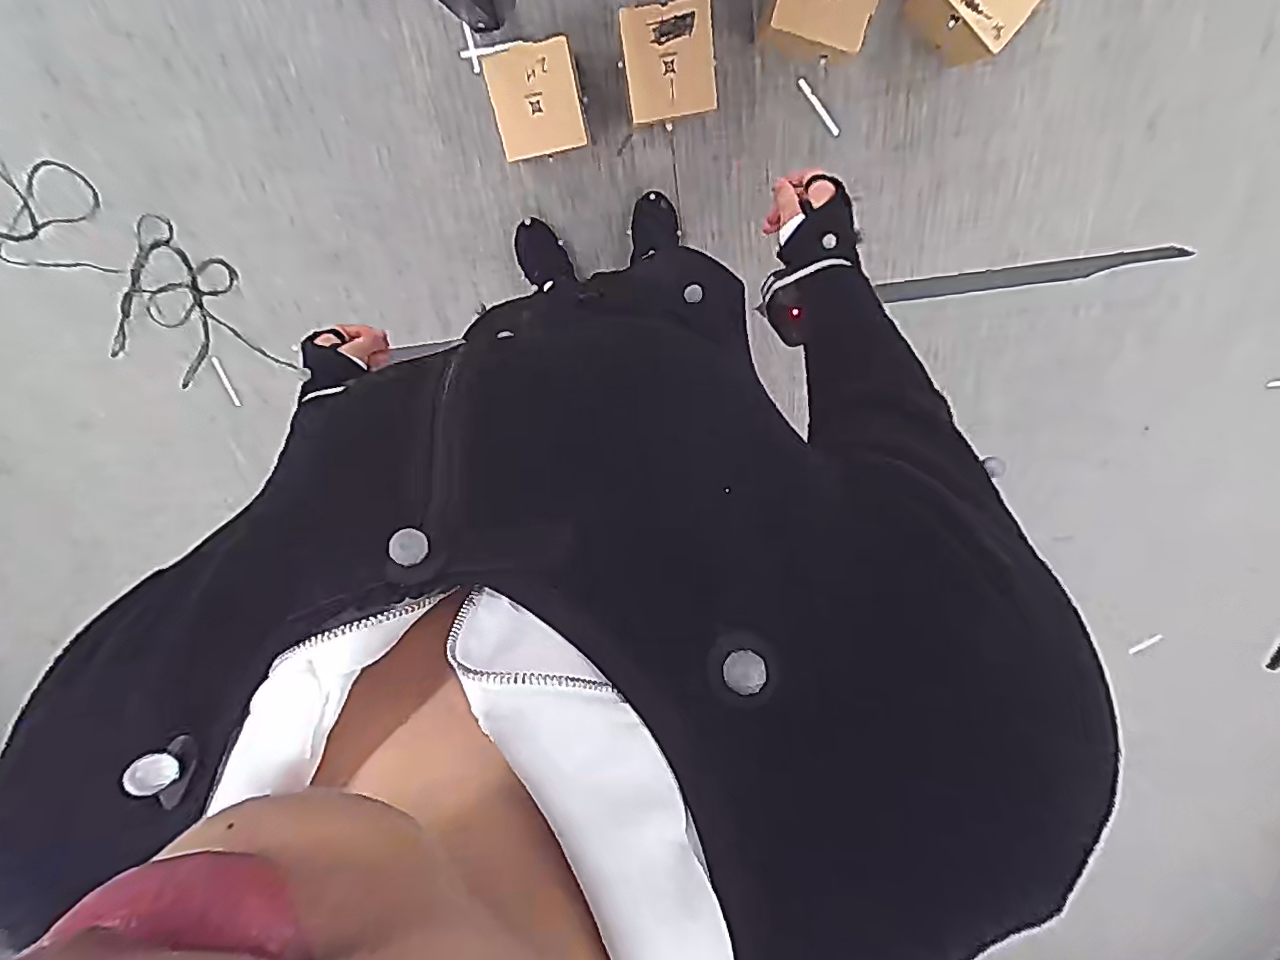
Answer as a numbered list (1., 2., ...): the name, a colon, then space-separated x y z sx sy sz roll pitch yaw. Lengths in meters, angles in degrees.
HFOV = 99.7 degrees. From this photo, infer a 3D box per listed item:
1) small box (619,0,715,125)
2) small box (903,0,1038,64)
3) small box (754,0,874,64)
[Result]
1. small box: 0.051 -0.820 1.068 0.168 0.176 0.179 -8 121 4
2. small box: 0.636 -0.929 1.009 0.168 0.176 0.179 32 115 -17
3. small box: 0.333 -0.913 1.018 0.179 0.176 0.168 12 118 -6
